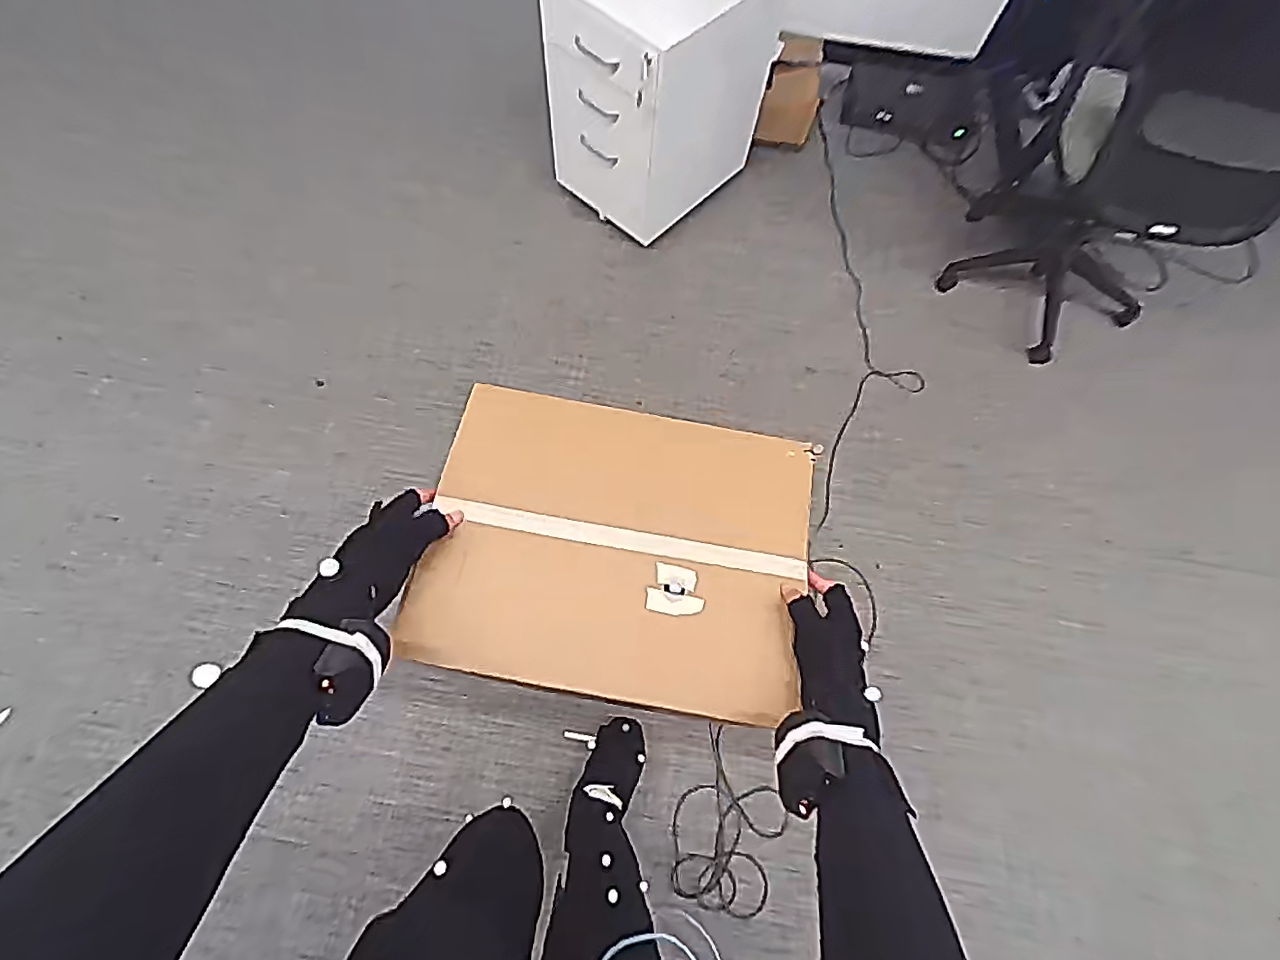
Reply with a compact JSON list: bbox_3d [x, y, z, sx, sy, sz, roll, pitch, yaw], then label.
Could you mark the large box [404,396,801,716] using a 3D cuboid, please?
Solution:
[{"bbox_3d":[-0.033,0.125,0.735,0.408,0.320,0.320,10,67,0],"label":"large box"}]
